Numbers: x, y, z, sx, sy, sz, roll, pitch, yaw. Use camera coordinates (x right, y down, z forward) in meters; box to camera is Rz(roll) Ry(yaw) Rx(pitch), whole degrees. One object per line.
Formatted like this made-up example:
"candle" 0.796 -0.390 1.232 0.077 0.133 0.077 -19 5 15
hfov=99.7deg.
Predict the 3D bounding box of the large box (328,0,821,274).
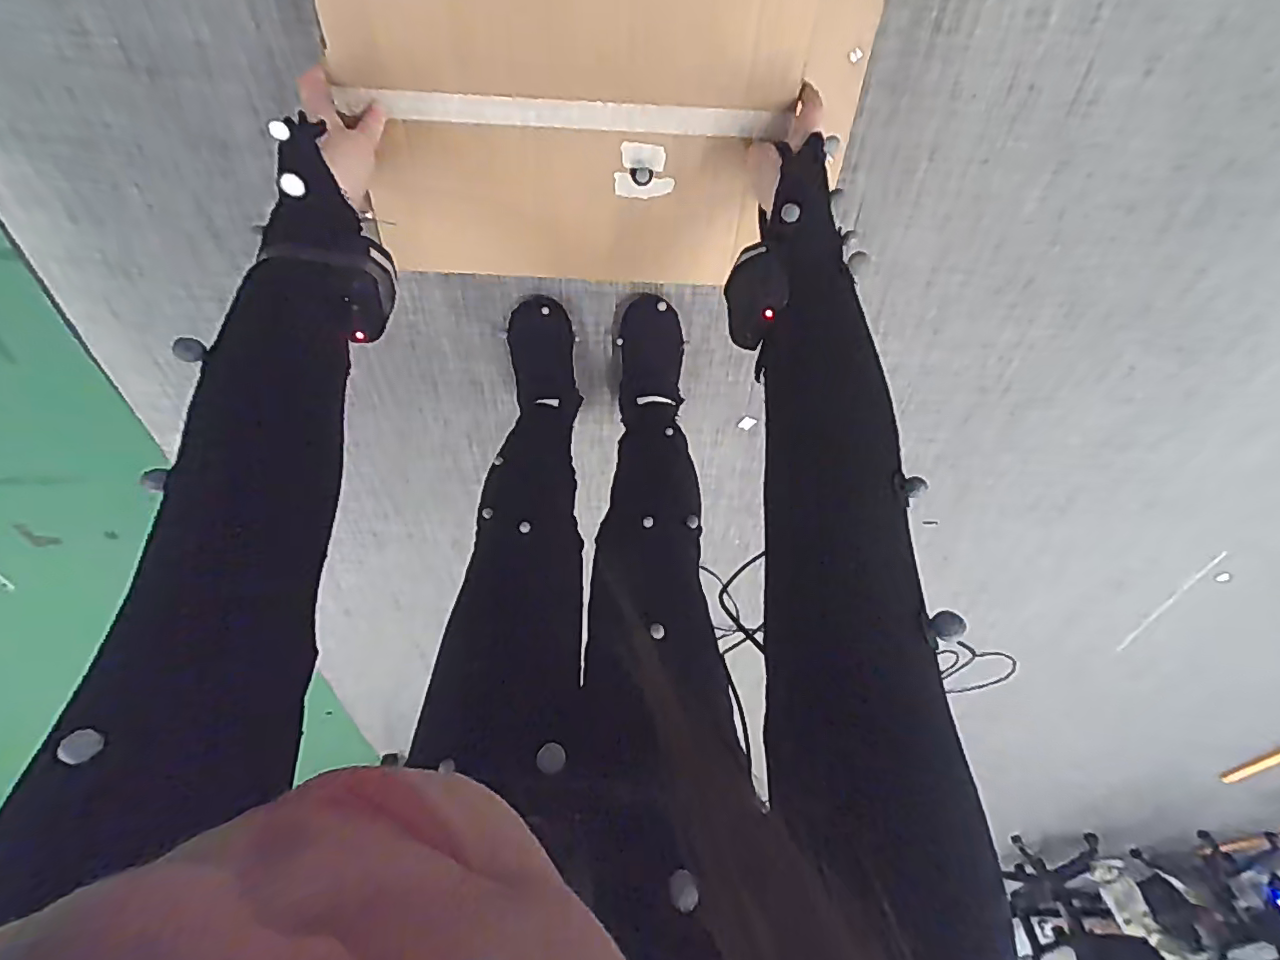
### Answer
"large box" -0.060 -0.441 0.589 0.408 0.320 0.320 1 135 -3
